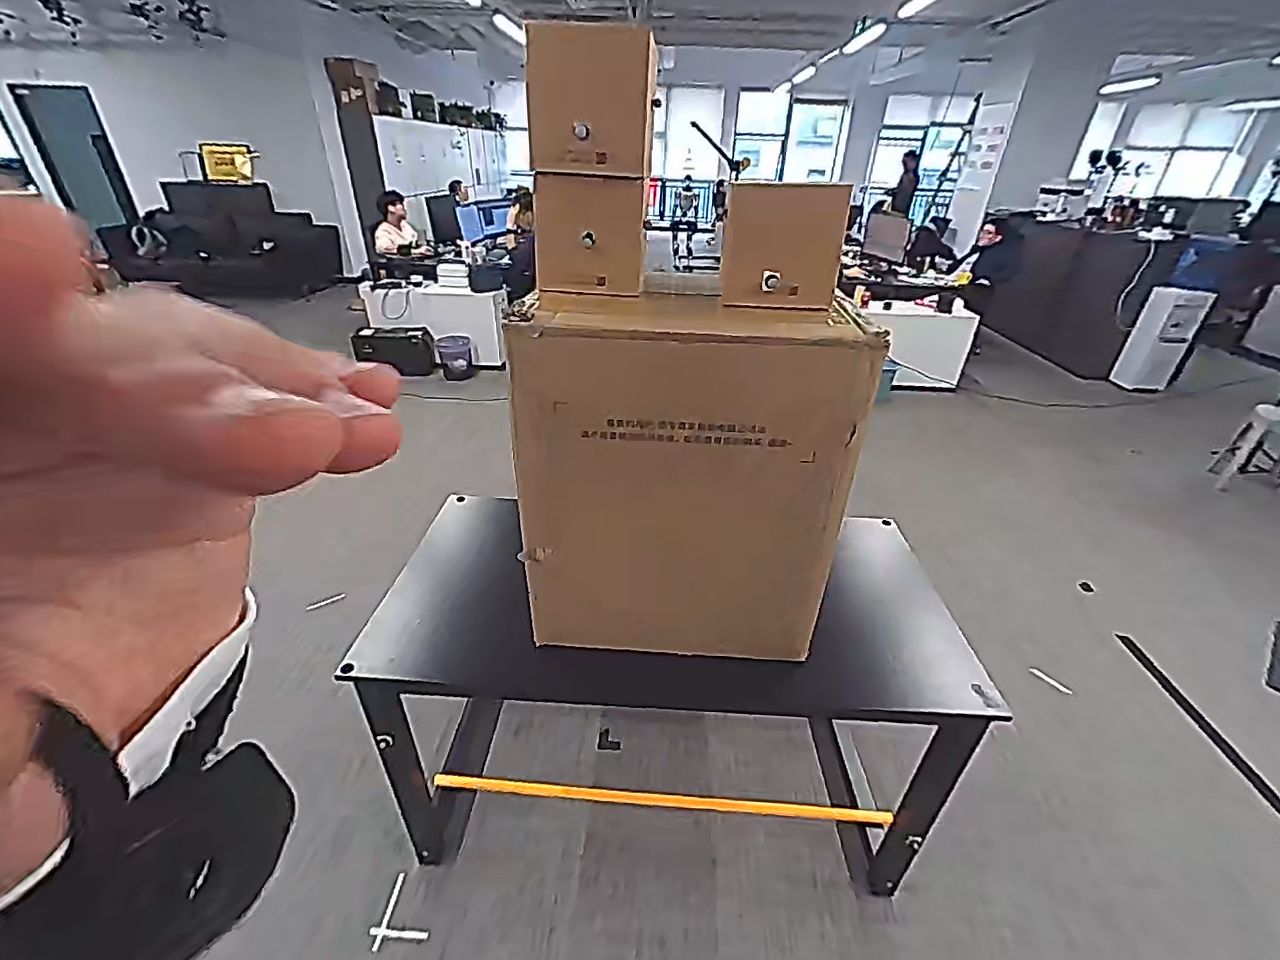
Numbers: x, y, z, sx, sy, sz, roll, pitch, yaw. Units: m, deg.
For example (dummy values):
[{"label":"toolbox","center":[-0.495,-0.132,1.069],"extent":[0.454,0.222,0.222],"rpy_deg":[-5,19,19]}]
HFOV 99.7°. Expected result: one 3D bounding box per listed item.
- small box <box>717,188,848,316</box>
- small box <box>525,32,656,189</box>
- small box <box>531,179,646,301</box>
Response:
[{"label":"small box","center":[0.212,-0.367,0.860],"extent":[0.168,0.176,0.179],"rpy_deg":[2,30,4]},{"label":"small box","center":[-0.068,-0.538,0.806],"extent":[0.168,0.176,0.179],"rpy_deg":[4,31,2]},{"label":"small box","center":[-0.078,-0.404,0.904],"extent":[0.168,0.176,0.179],"rpy_deg":[4,31,1]}]
